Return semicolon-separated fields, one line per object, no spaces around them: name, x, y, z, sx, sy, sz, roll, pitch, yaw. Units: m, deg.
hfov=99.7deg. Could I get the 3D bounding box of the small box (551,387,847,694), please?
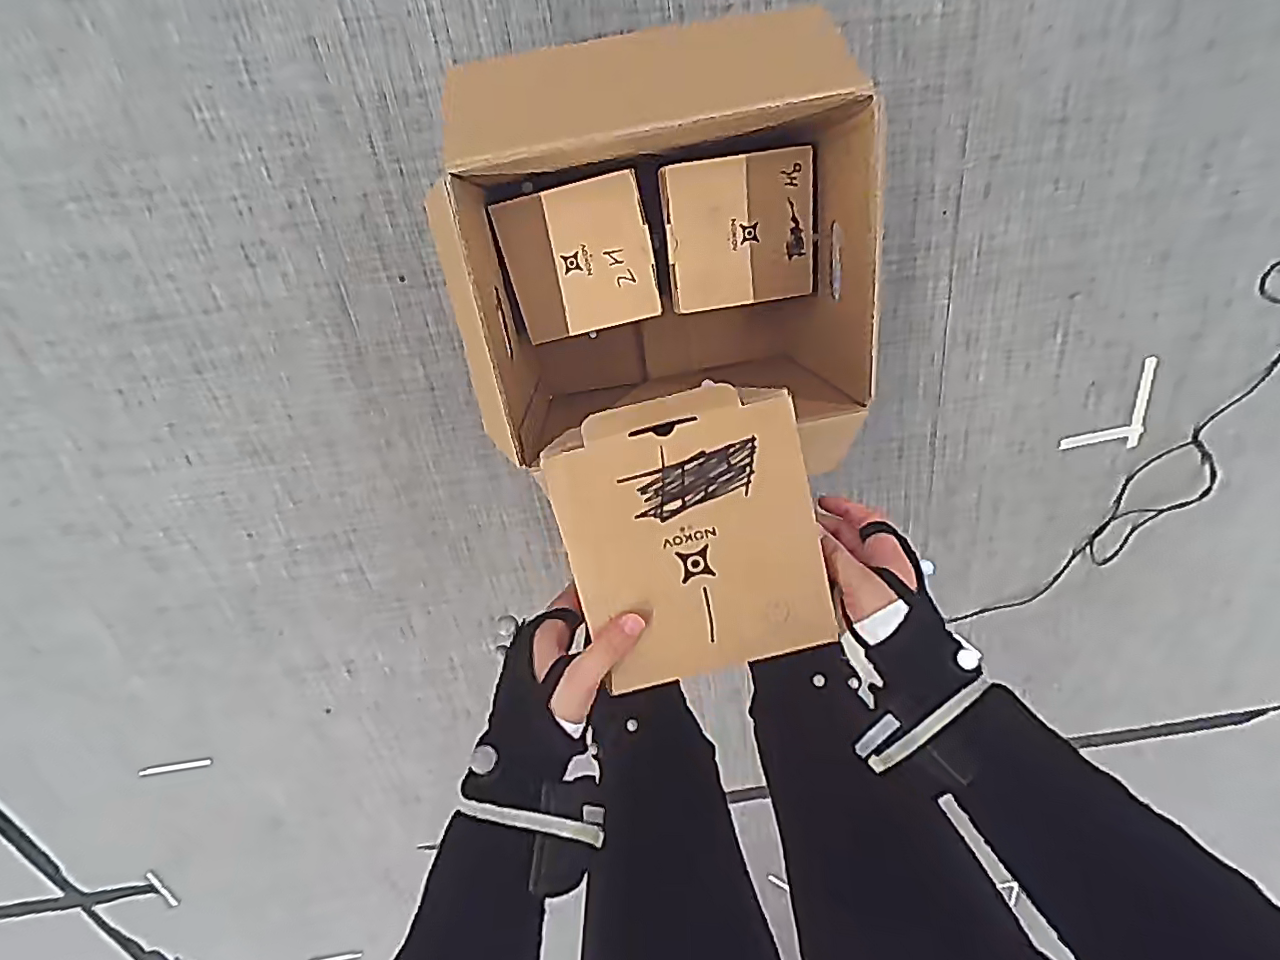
small box;0.039;0.030;0.427;0.168;0.176;0.179;-14;101;2
